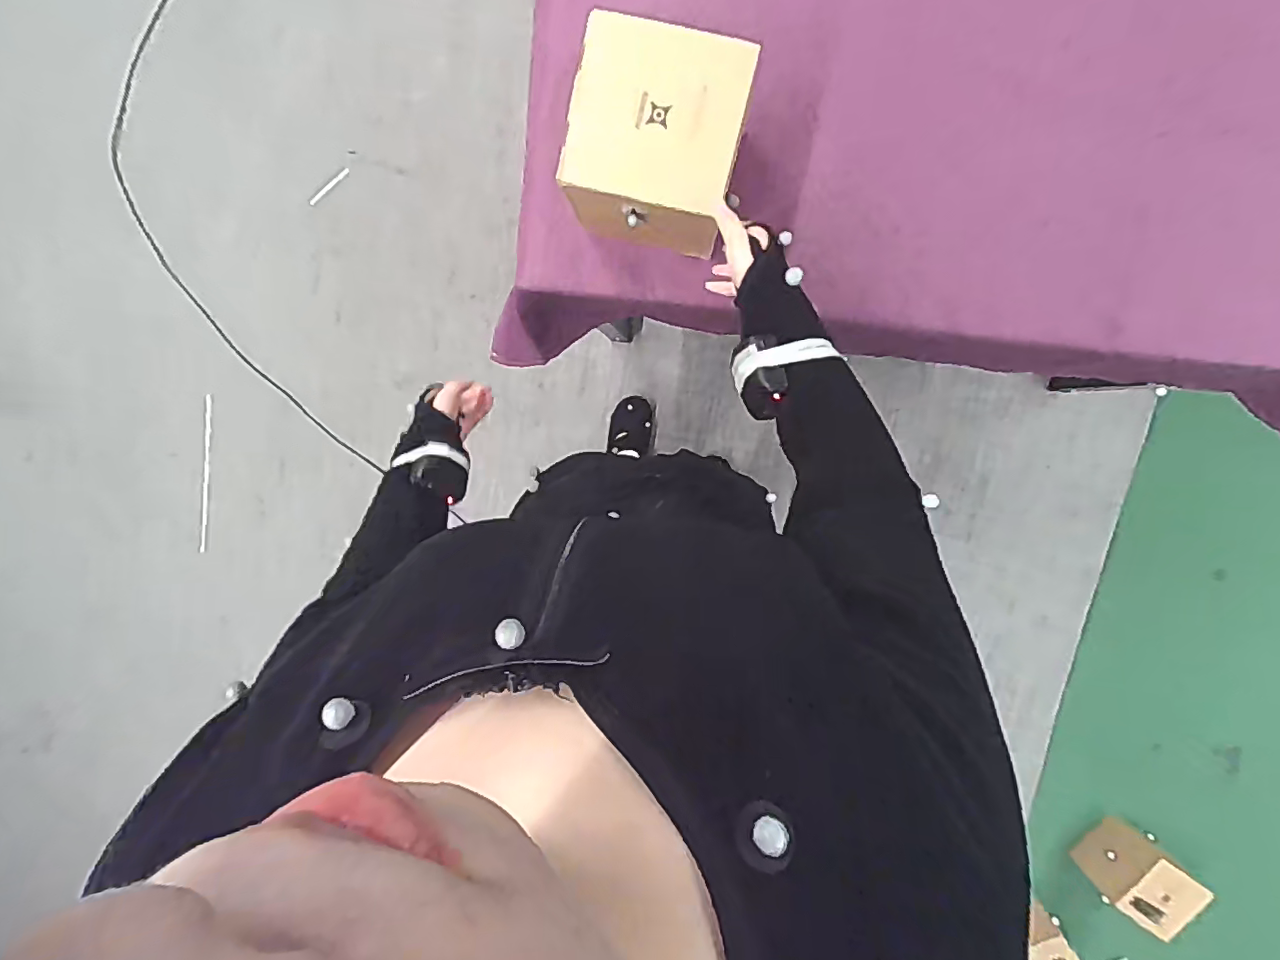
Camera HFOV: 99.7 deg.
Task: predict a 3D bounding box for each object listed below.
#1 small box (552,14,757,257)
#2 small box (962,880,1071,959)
[{"bbox_3d":[0.018,-0.375,0.624,0.179,0.176,0.168,15,99,2],"label":"small box"},{"bbox_3d":[1.043,1.264,1.494,0.179,0.176,0.168,-34,94,10],"label":"small box"}]
